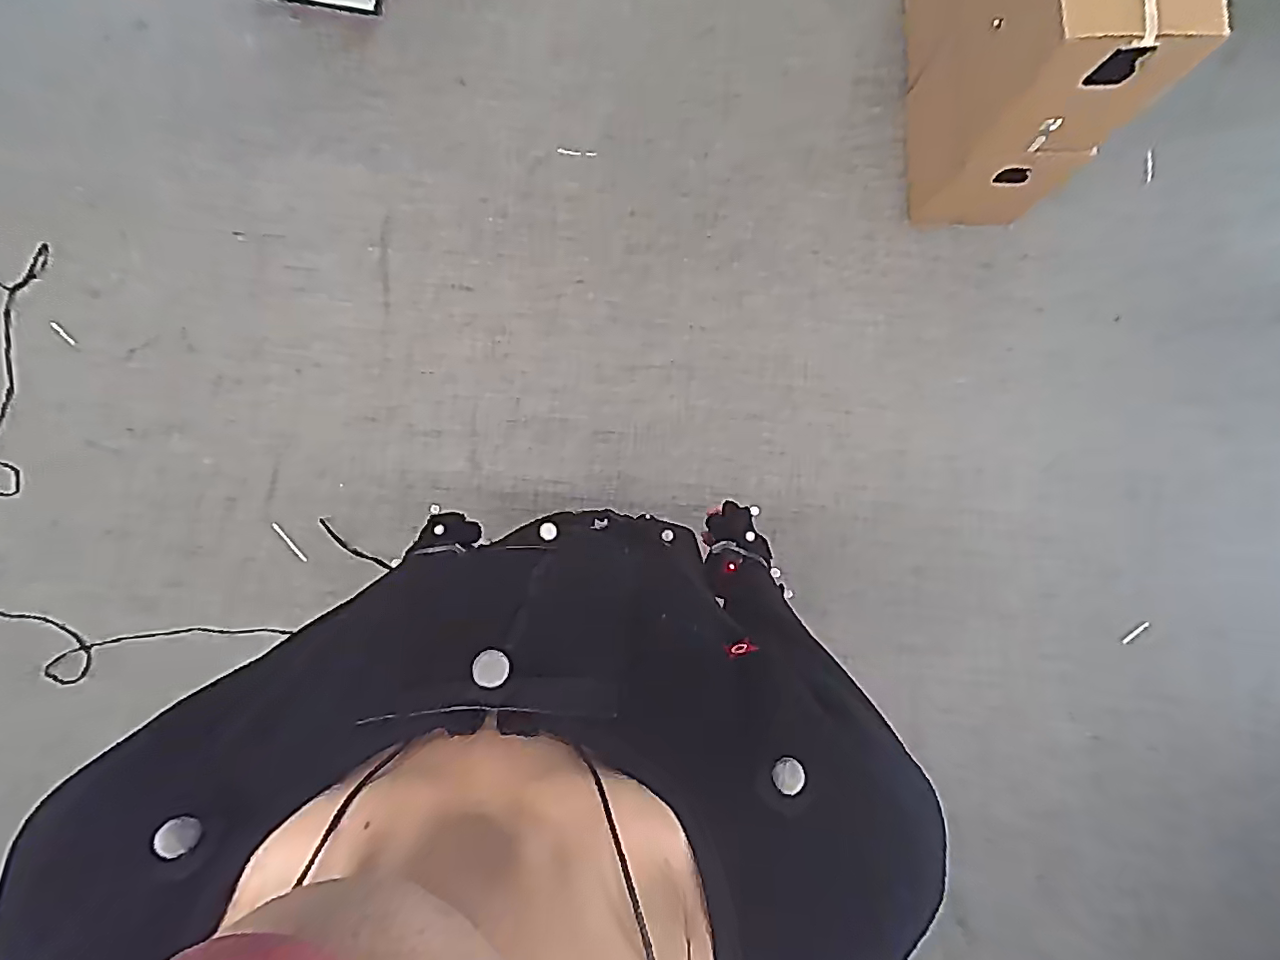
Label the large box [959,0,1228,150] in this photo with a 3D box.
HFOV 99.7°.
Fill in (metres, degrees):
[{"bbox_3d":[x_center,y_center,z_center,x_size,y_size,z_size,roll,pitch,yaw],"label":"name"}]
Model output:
[{"bbox_3d":[0.943,-1.011,1.177,0.320,0.320,0.408,-1,84,0],"label":"large box"}]
